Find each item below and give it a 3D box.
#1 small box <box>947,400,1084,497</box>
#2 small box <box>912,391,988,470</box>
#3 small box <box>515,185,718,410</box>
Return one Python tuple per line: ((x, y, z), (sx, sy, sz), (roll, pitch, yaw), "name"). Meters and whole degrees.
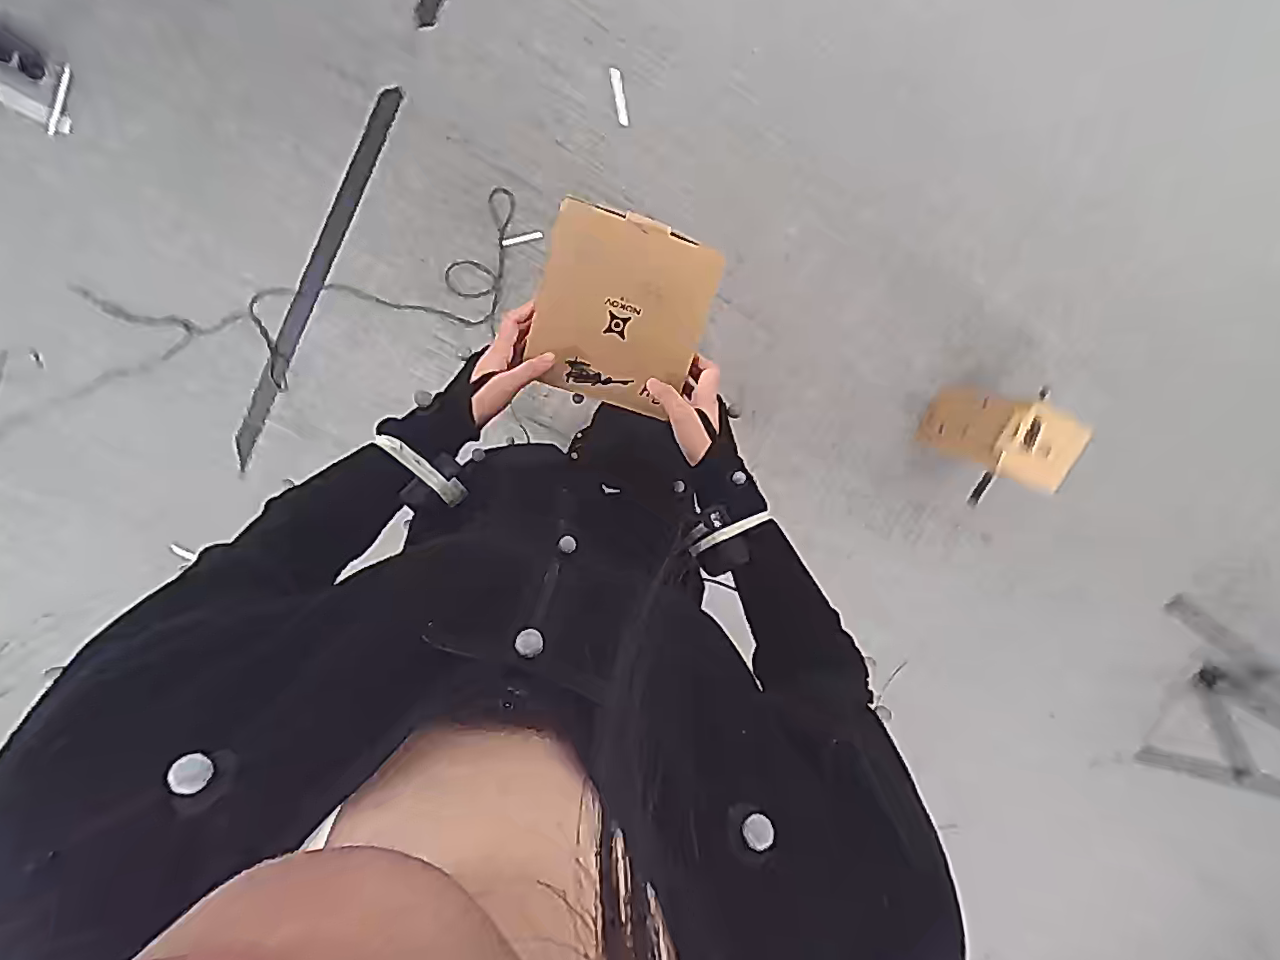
((0.892, -0.084, 1.306), (0.179, 0.176, 0.168), (24, 102, -11), "small box")
((0.882, -0.131, 1.464), (0.179, 0.176, 0.168), (23, 103, -11), "small box")
((-0.030, -0.199, 0.607), (0.168, 0.176, 0.179), (15, 109, -8), "small box")
